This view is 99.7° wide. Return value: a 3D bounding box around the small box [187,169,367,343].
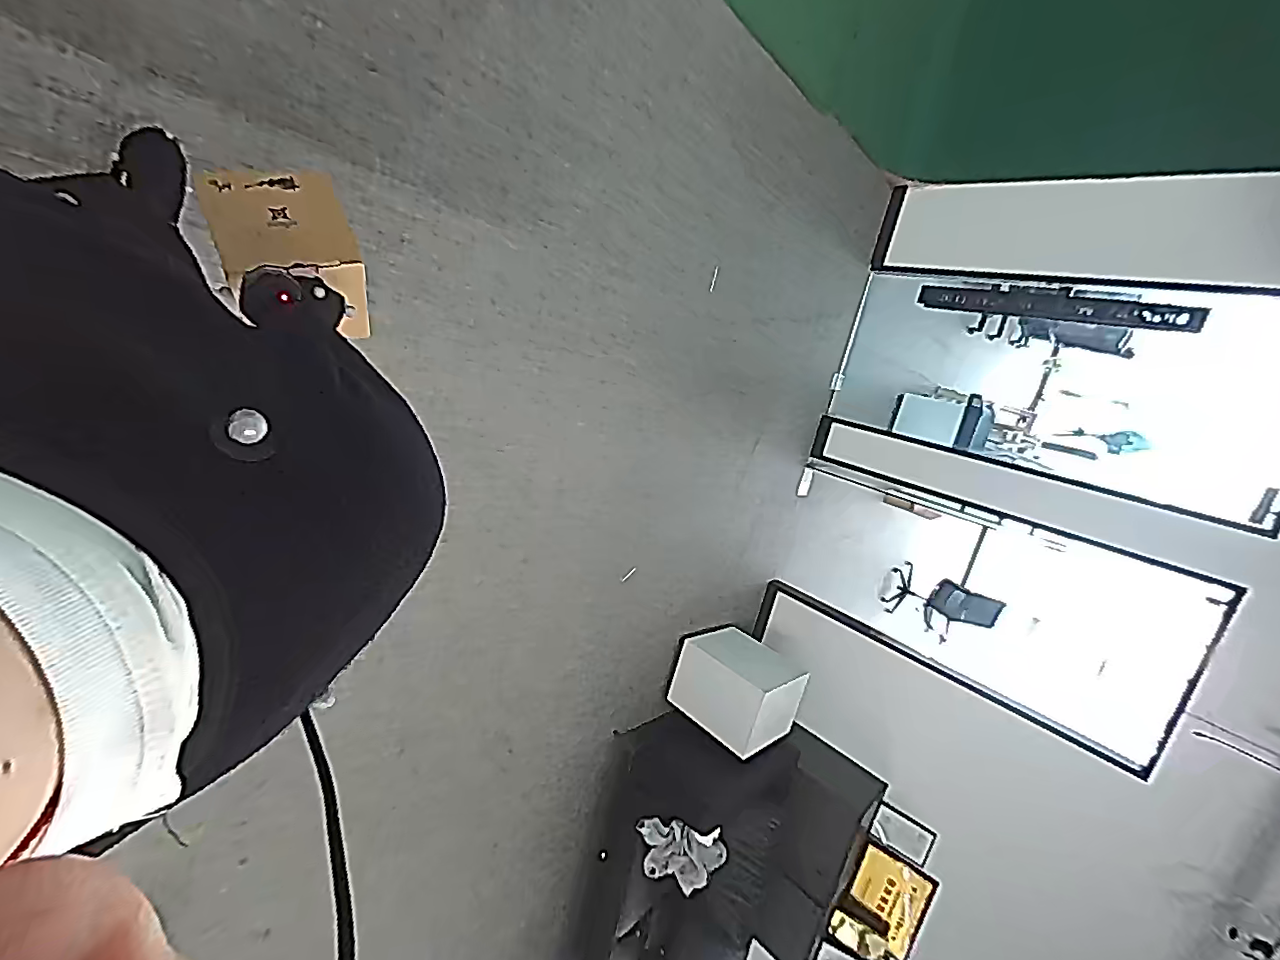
[{"bbox_3d":[-0.526,-0.325,0.809,0.168,0.179,0.176,-22,166,-29],"label":"small box"}]
